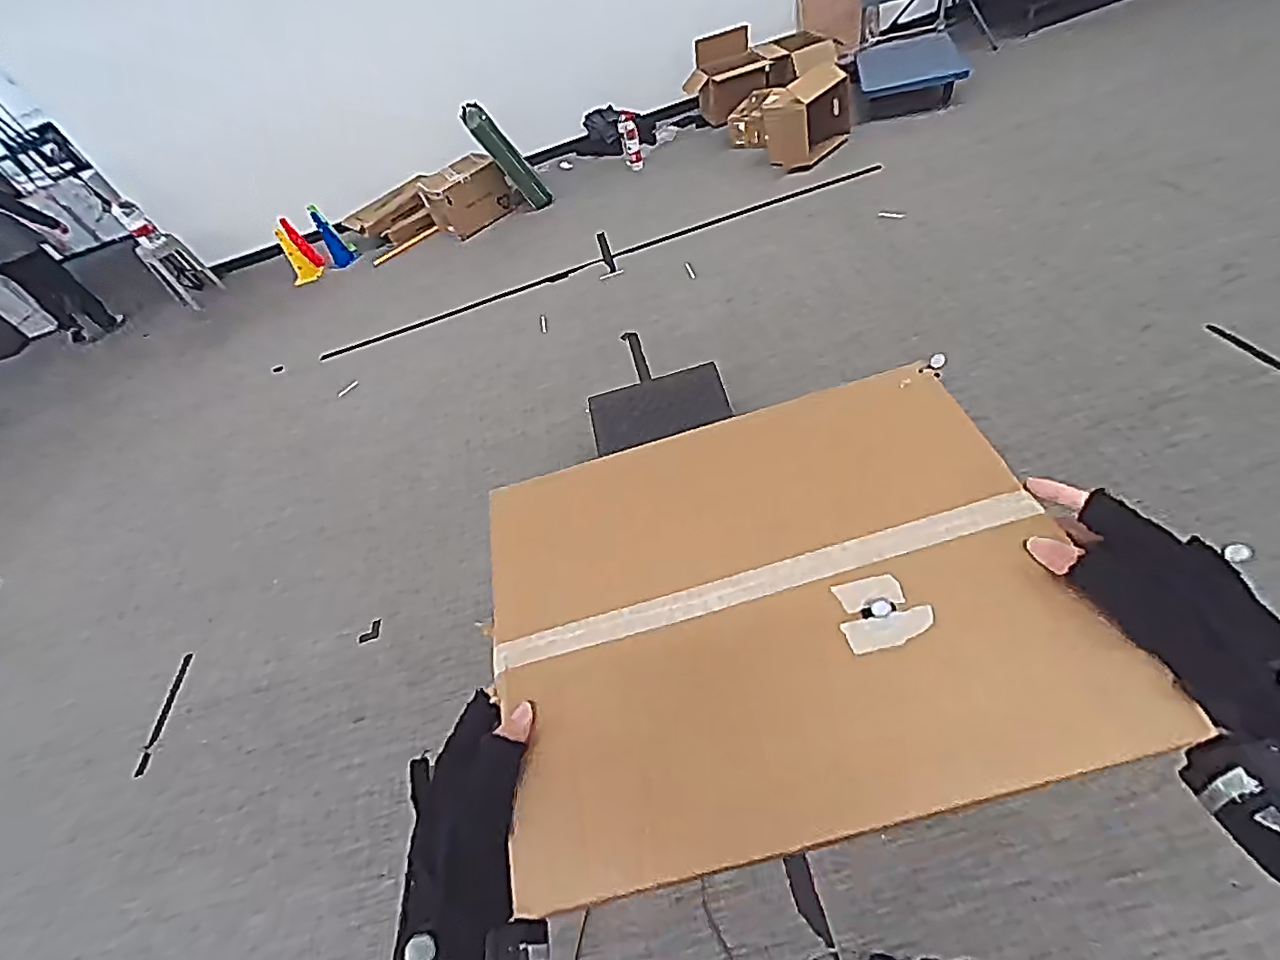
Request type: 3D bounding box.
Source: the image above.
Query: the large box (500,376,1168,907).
[{"bbox_3d":[0.120,0.165,0.529,0.408,0.320,0.320,-17,55,2],"label":"large box"}]
